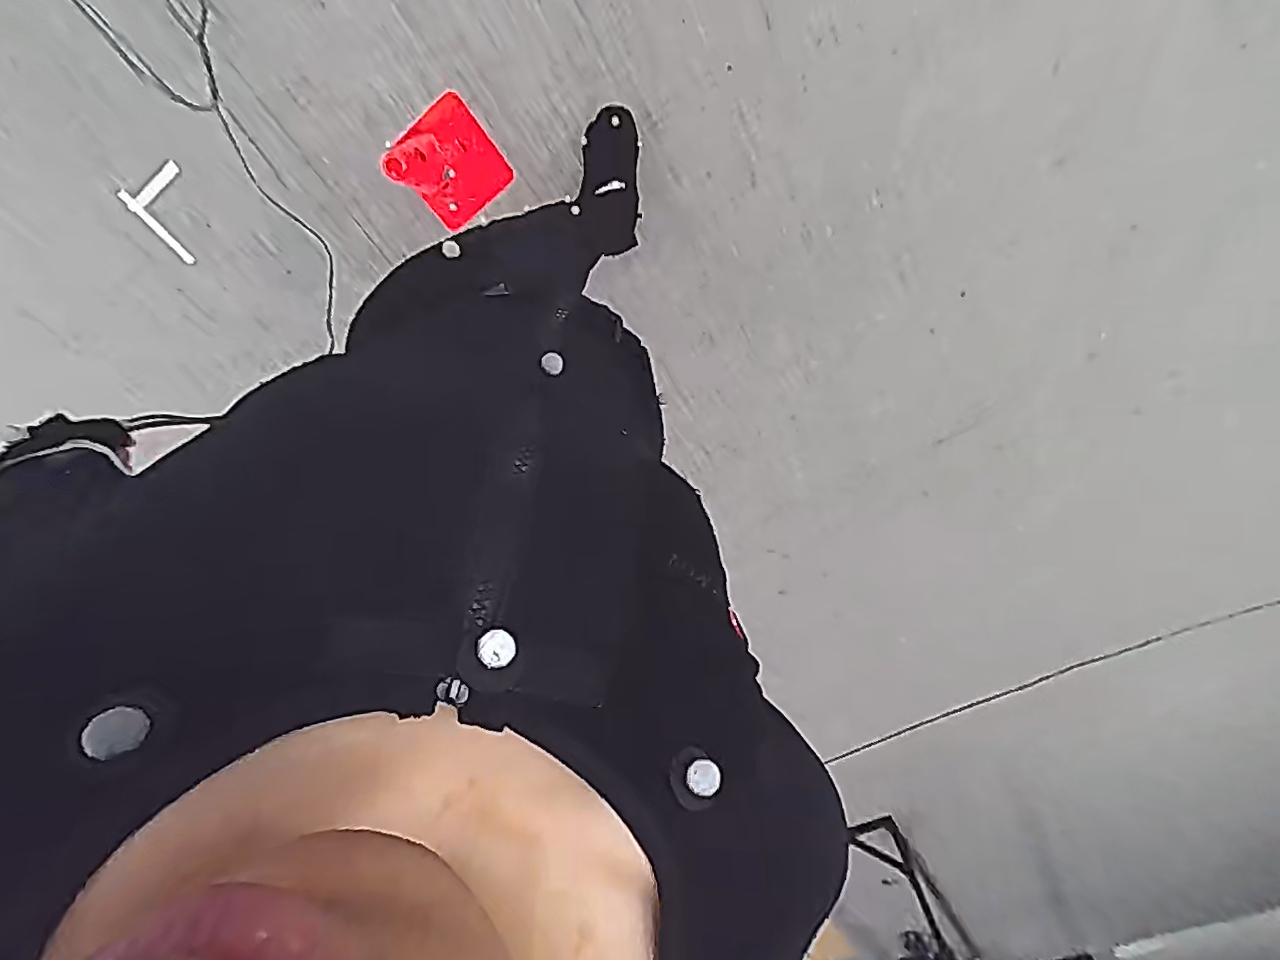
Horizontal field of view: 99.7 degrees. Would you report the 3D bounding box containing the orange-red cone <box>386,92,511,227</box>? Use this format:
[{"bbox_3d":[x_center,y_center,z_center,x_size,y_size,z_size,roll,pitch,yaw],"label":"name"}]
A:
[{"bbox_3d":[-0.392,-0.589,1.004,0.199,0.360,0.198,-32,117,14],"label":"orange-red cone"}]
